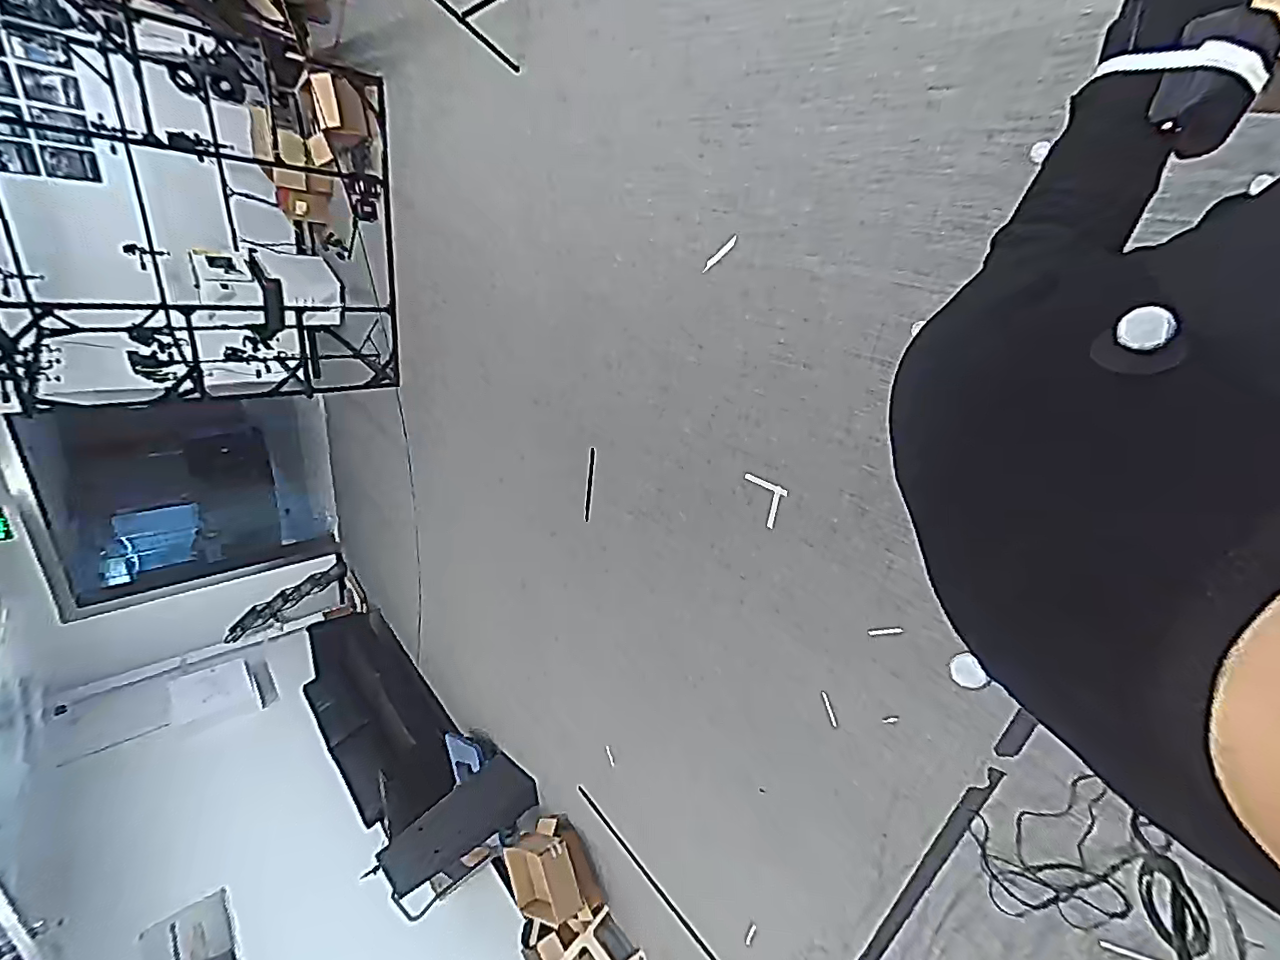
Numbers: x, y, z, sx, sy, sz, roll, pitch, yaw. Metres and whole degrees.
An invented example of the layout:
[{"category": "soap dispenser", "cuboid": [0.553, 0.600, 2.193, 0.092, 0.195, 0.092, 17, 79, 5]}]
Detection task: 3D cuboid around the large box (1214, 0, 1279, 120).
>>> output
[{"category": "large box", "cuboid": [0.648, -0.392, 0.284, 0.408, 0.320, 0.320, 28, 128, 35]}]
